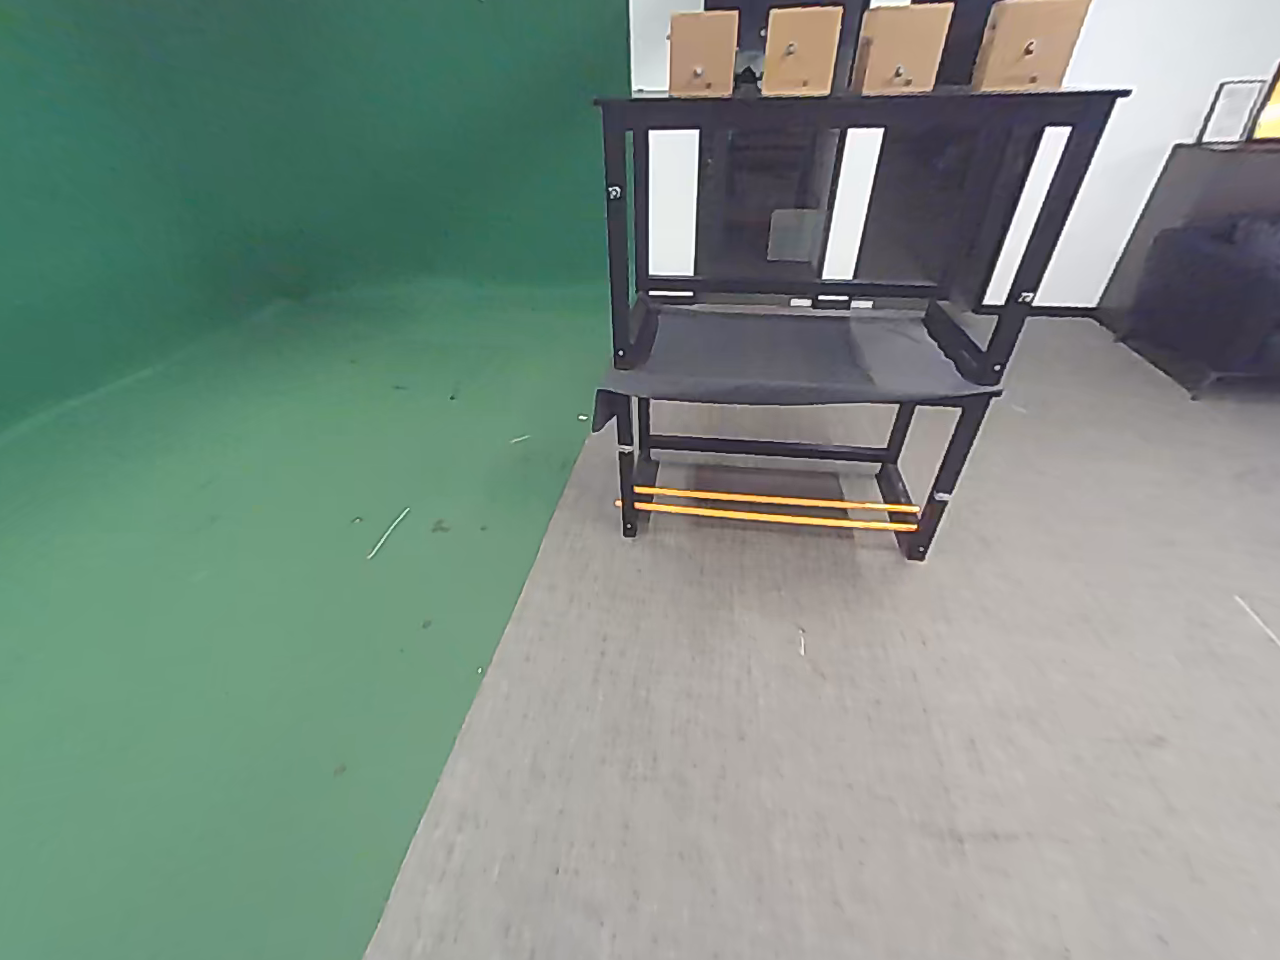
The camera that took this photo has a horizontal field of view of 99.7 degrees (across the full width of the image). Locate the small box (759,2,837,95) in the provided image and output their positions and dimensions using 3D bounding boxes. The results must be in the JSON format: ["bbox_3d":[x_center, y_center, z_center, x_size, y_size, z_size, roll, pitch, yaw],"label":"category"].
[{"bbox_3d":[0.392,-1.081,1.363,0.168,0.176,0.179,5,37,9],"label":"small box"}]

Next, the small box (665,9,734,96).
[{"bbox_3d":[0.153,-1.111,1.410,0.168,0.176,0.179,1,38,4],"label":"small box"}]

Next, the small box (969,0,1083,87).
[{"bbox_3d":[0.897,-1.032,1.268,0.168,0.176,0.179,10,38,15],"label":"small box"}]
